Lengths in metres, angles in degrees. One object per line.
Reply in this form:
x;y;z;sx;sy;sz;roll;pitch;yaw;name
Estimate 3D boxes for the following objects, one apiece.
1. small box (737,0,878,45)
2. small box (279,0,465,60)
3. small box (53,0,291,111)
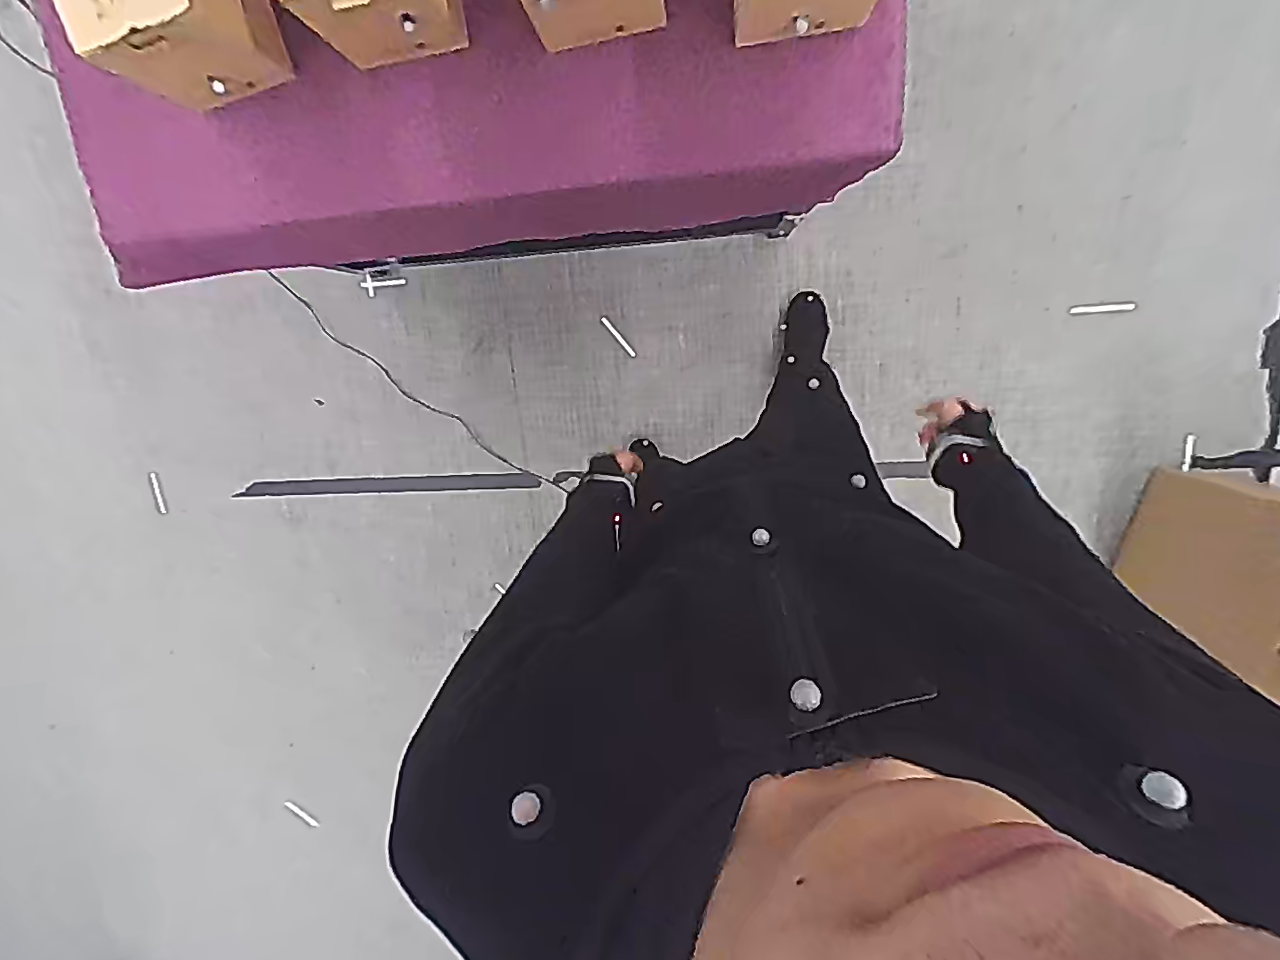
0.193;-0.637;0.602;0.168;0.176;0.179;-4;105;7;small box
-0.330;-0.647;0.653;0.168;0.176;0.179;-6;104;6;small box
-0.596;-0.615;0.685;0.168;0.176;0.179;-12;103;9;small box
